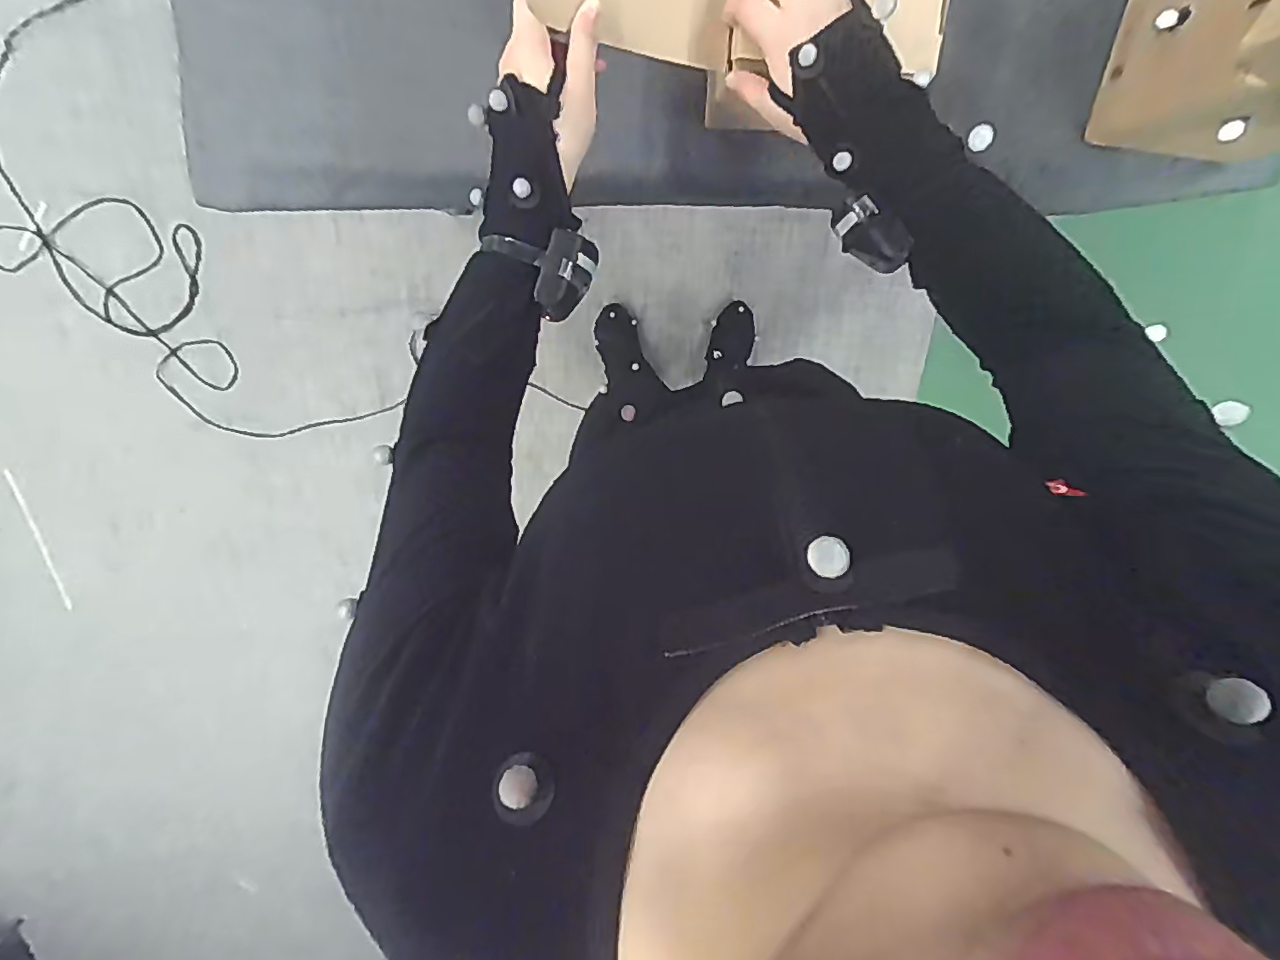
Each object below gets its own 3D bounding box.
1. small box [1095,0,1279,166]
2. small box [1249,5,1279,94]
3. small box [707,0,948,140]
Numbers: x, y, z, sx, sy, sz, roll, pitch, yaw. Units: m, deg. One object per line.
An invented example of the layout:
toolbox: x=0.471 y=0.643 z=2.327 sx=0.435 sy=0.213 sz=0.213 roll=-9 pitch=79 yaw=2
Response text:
small box: x=0.590 y=-0.411 z=0.503 sx=0.179 sy=0.176 sz=0.168 roll=7 pitch=107 yaw=-1
small box: x=0.592 y=-0.345 z=0.353 sx=0.179 sy=0.176 sz=0.168 roll=27 pitch=105 yaw=-9
small box: x=0.163 y=-0.431 z=0.500 sx=0.179 sy=0.176 sz=0.168 roll=2 pitch=109 yaw=1
